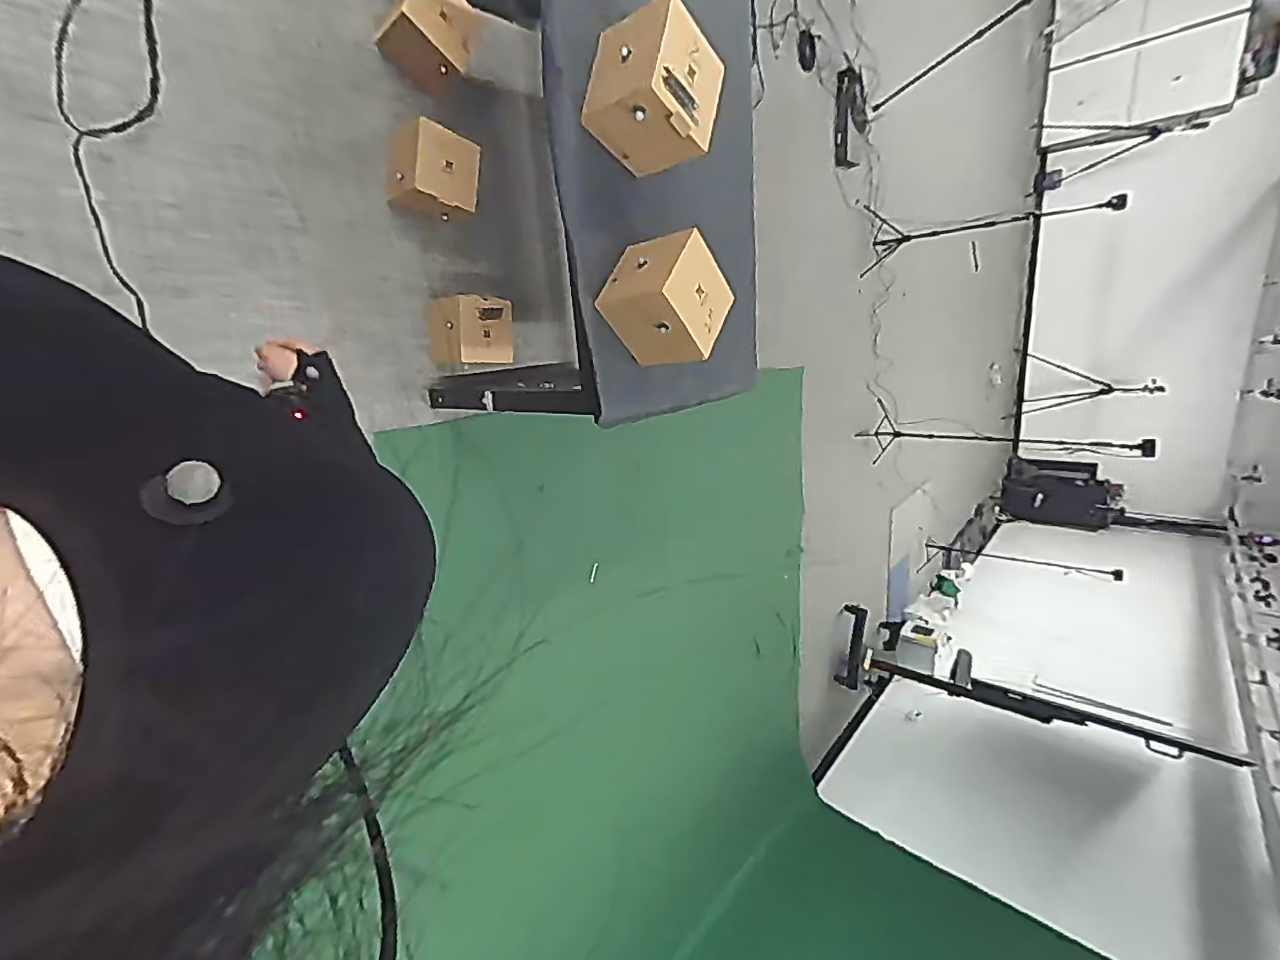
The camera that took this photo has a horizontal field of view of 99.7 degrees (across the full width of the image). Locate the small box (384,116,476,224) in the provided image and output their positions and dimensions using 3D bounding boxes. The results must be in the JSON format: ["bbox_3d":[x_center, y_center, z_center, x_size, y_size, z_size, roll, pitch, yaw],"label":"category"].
[{"bbox_3d":[-0.551,-0.796,1.413,0.168,0.176,0.179,0,94,-49],"label":"small box"}]

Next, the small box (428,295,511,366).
[{"bbox_3d":[-0.487,-0.419,1.541,0.168,0.176,0.179,-12,106,-46],"label":"small box"}]

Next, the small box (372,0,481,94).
[{"bbox_3d":[-0.543,-1.133,1.369,0.179,0.176,0.168,28,75,-47],"label":"small box"}]

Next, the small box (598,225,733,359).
[{"bbox_3d":[0.049,-0.351,1.047,0.179,0.176,0.168,46,60,-42],"label":"small box"}]
